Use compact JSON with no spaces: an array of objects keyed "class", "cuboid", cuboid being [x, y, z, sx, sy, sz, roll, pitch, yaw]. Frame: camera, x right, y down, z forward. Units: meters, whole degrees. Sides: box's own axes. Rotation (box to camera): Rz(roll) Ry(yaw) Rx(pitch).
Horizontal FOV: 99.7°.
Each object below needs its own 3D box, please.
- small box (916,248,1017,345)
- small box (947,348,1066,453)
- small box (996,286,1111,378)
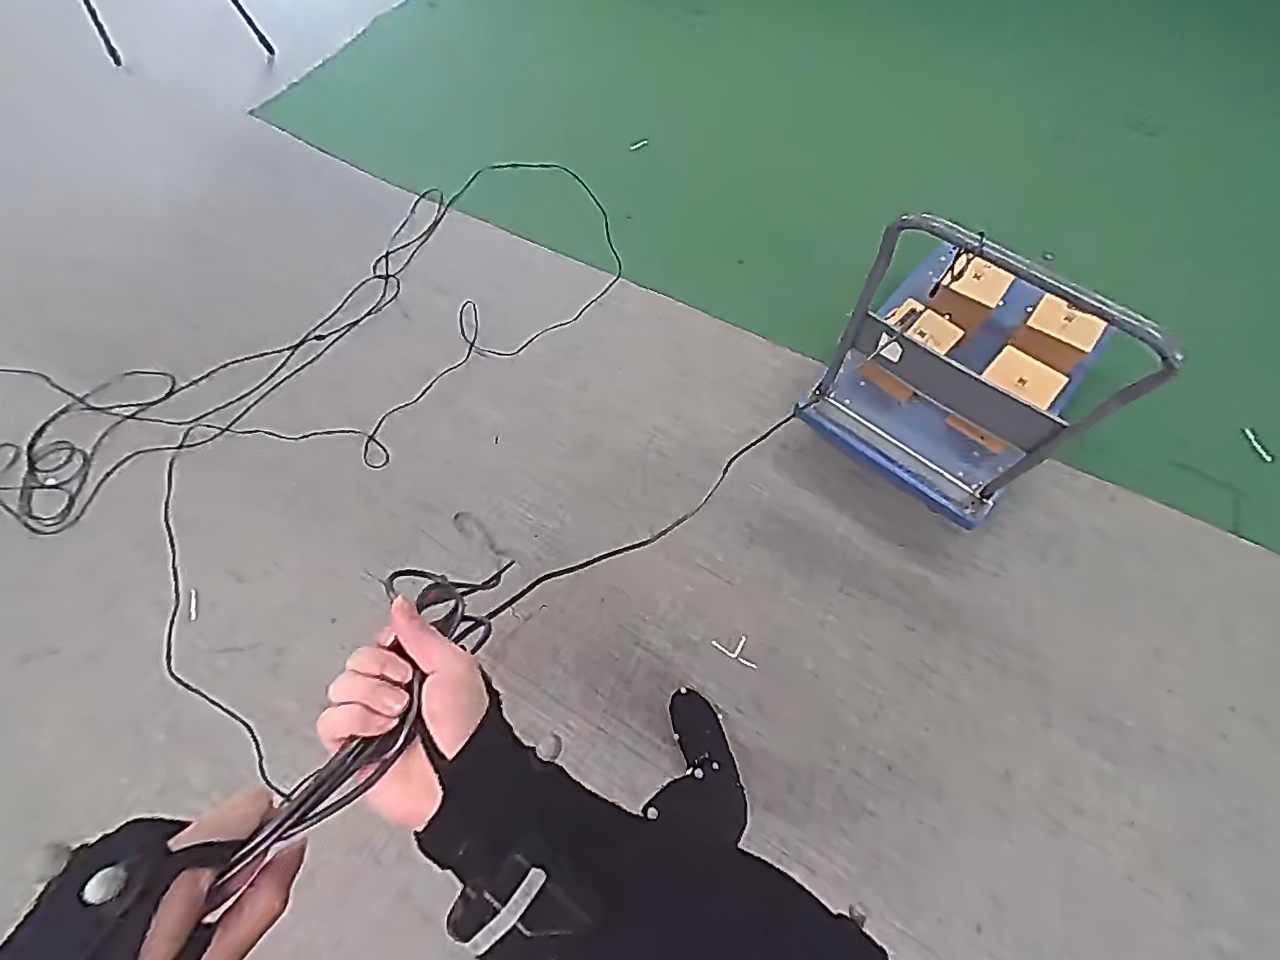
[{"class":"small box","cuboid":[0.938,-0.528,1.575,0.168,0.176,0.179,35,72,17]},{"class":"small box","cuboid":[0.955,-0.205,1.427,0.168,0.176,0.179,40,74,19]},{"class":"small box","cuboid":[1.136,-0.392,1.500,0.168,0.176,0.179,35,73,18]}]
